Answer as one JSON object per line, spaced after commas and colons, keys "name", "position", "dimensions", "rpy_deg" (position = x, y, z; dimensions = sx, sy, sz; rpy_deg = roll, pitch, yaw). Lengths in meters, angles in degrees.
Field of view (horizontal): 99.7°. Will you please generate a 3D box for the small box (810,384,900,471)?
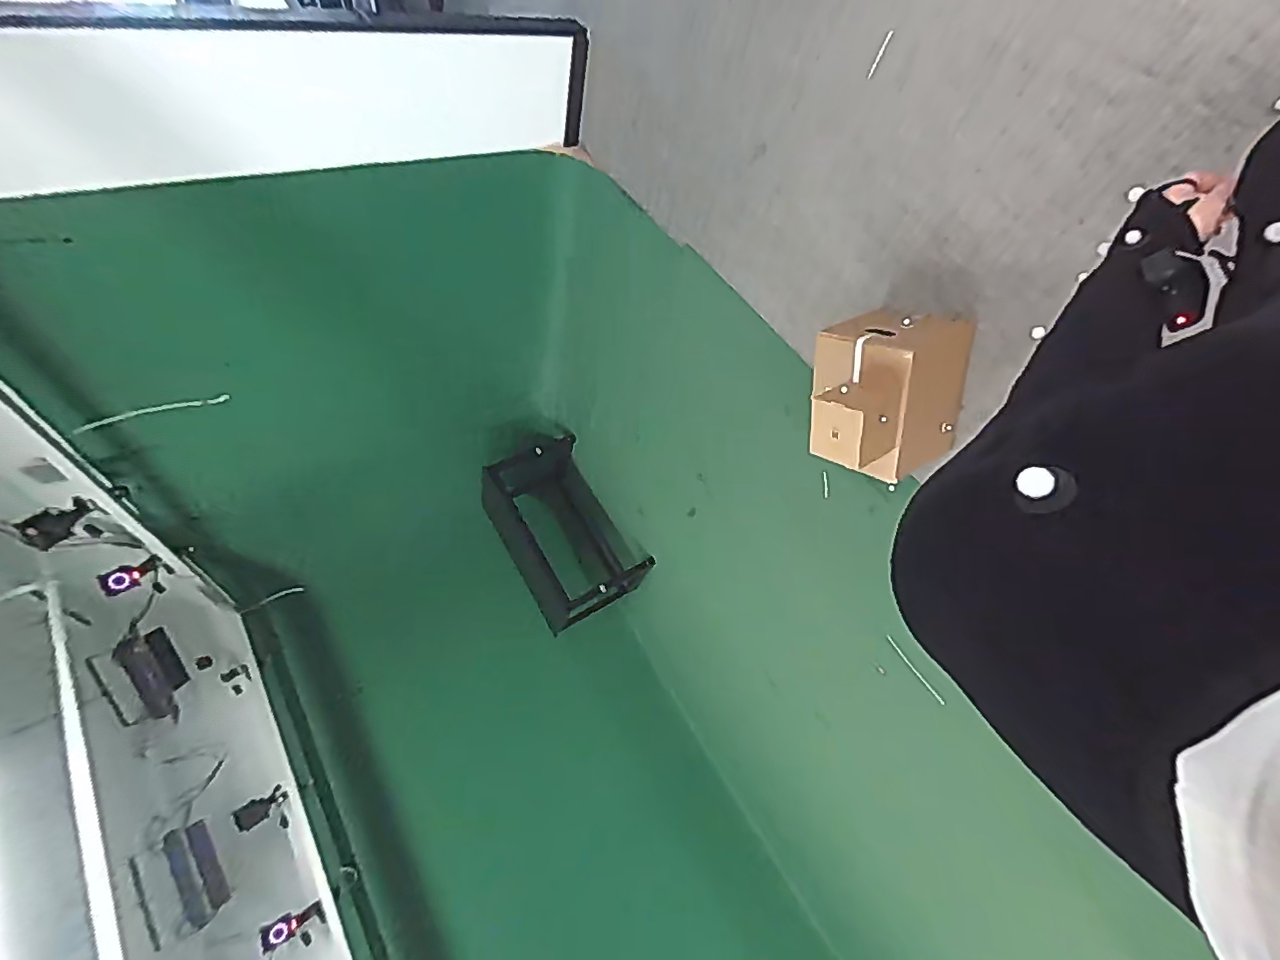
{"name": "small box", "position": [0.600, -0.154, 1.511], "dimensions": [0.168, 0.176, 0.179], "rpy_deg": [31, 137, 47]}
